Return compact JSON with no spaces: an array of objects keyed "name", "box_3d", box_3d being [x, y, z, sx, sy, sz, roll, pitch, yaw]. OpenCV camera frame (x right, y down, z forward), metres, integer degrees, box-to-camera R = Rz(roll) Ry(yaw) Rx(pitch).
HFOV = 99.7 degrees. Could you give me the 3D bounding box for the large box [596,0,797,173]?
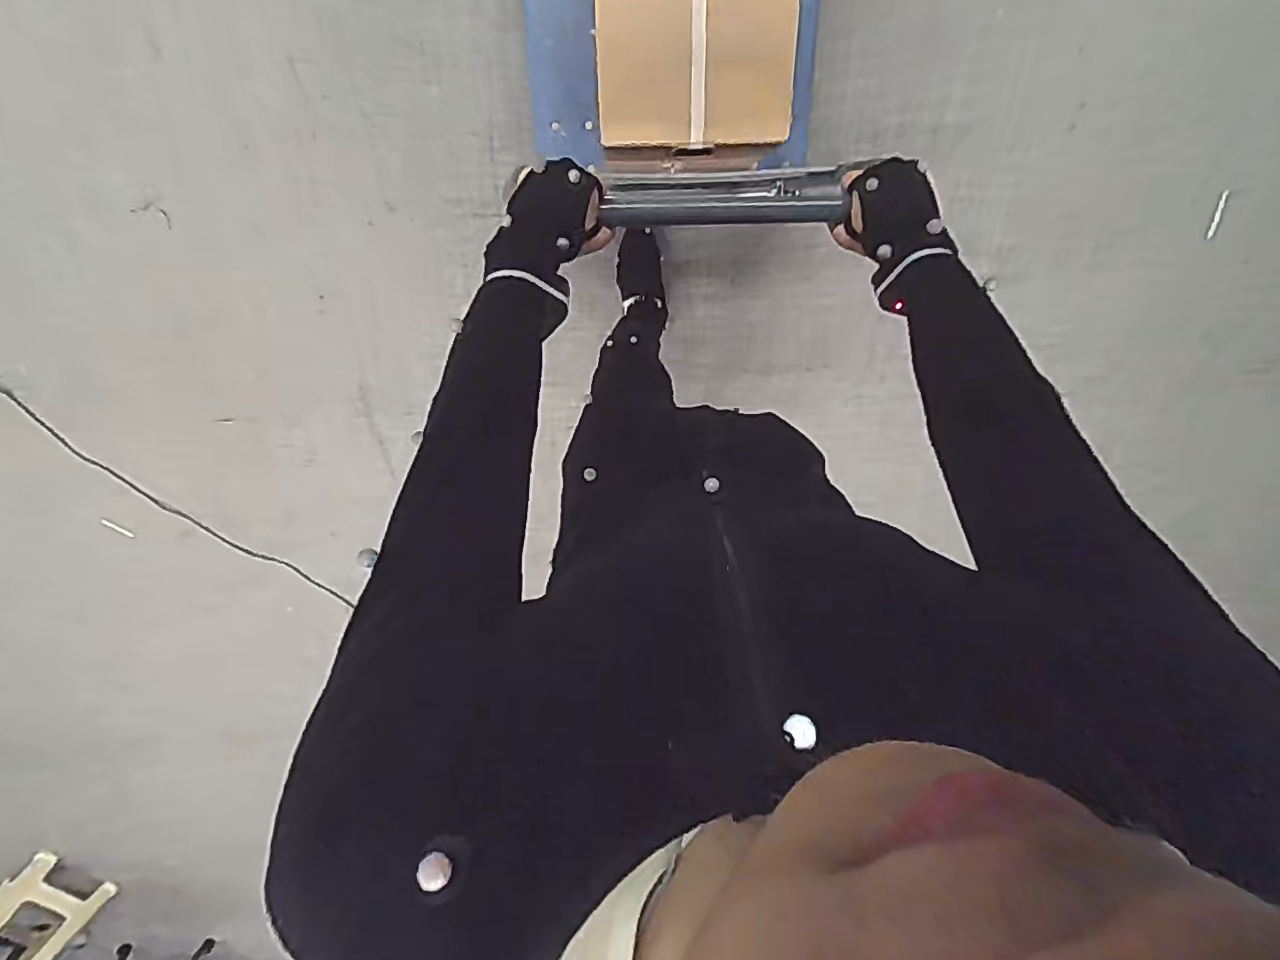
[{"name":"large box","box_3d":[0.086,-0.798,0.958,0.320,0.320,0.408,-1,112,-1]}]
